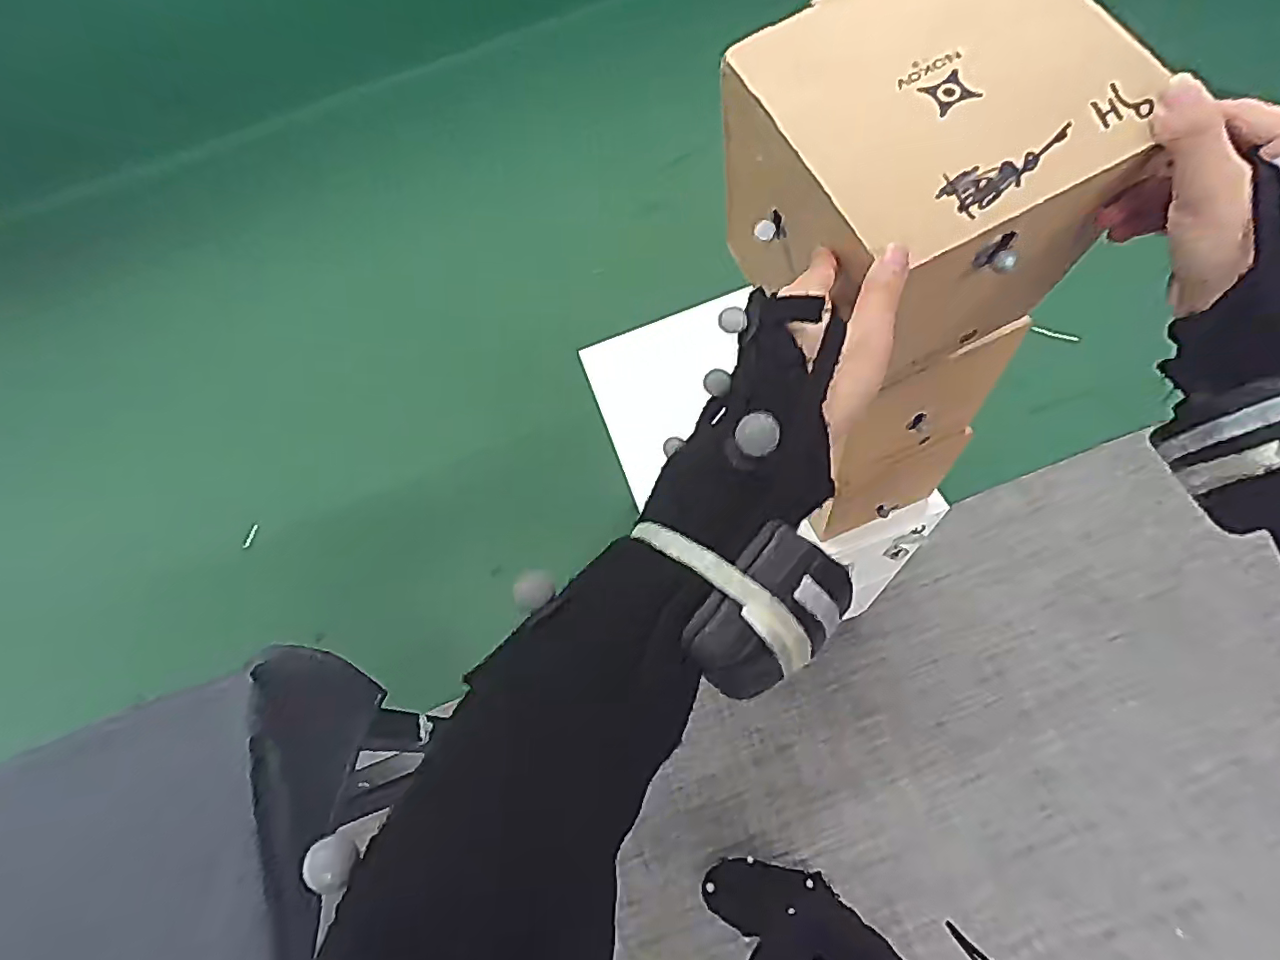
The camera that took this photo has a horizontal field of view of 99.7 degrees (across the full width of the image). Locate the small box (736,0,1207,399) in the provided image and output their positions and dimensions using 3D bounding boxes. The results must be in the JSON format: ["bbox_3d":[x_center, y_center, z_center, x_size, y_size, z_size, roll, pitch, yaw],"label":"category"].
[{"bbox_3d":[0.172,-0.185,0.357,0.168,0.176,0.179,-26,71,2],"label":"small box"}]

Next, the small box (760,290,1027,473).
[{"bbox_3d":[0.239,-0.128,0.566,0.168,0.176,0.179,-24,61,-3],"label":"small box"}]
